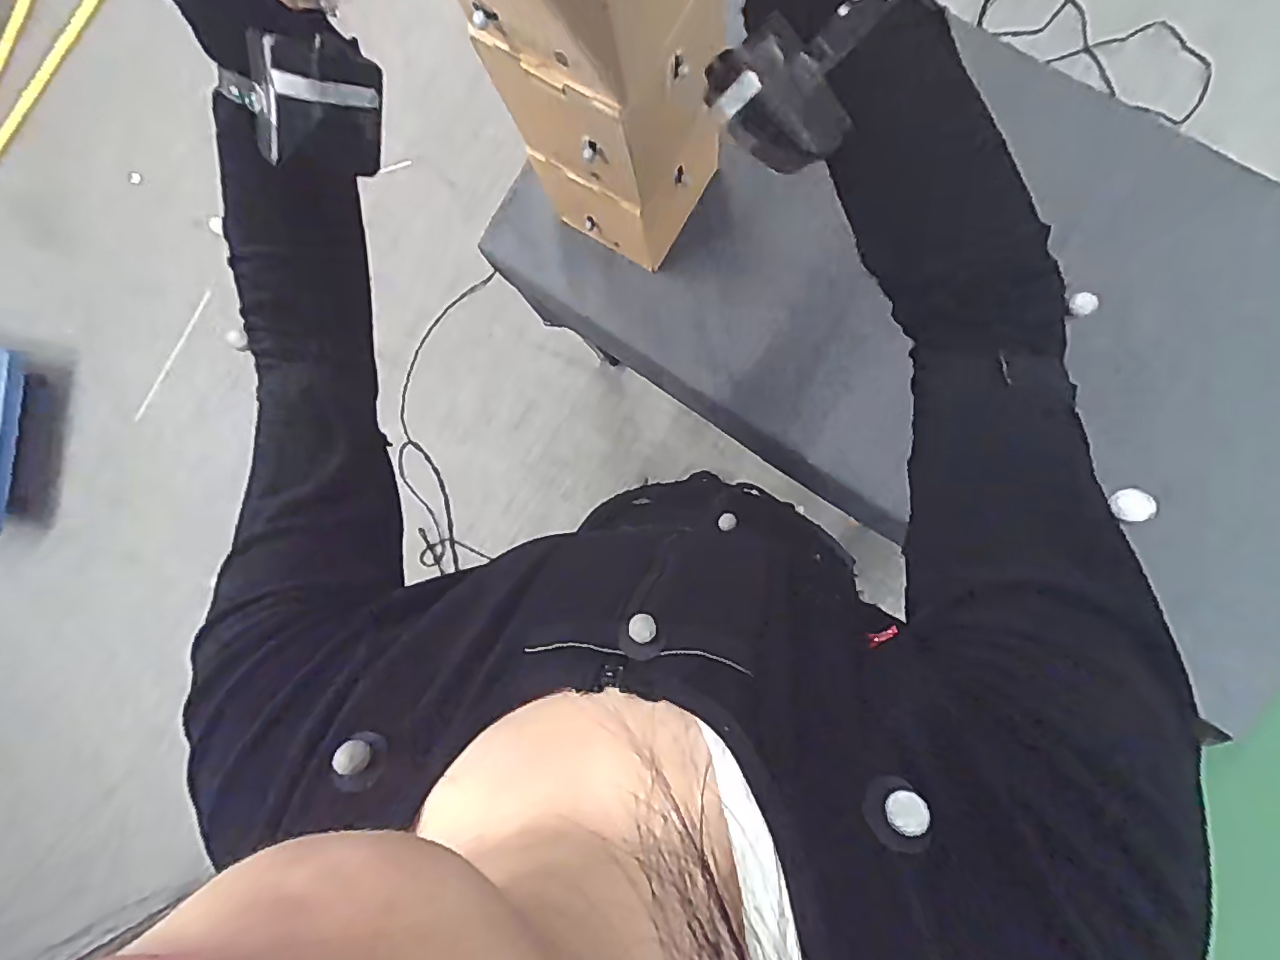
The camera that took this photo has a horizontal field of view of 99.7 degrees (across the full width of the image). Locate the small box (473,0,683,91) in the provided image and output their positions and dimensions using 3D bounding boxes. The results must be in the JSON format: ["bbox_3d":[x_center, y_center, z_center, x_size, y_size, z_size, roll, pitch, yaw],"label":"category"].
[{"bbox_3d":[-0.045,-0.427,0.372,0.168,0.176,0.179,31,93,5],"label":"small box"}]

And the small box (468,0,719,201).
[{"bbox_3d":[-0.029,-0.421,0.536,0.168,0.176,0.179,33,94,5],"label":"small box"}]

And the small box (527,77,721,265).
[{"bbox_3d":[-0.013,-0.418,0.698,0.168,0.176,0.179,32,94,6],"label":"small box"}]
